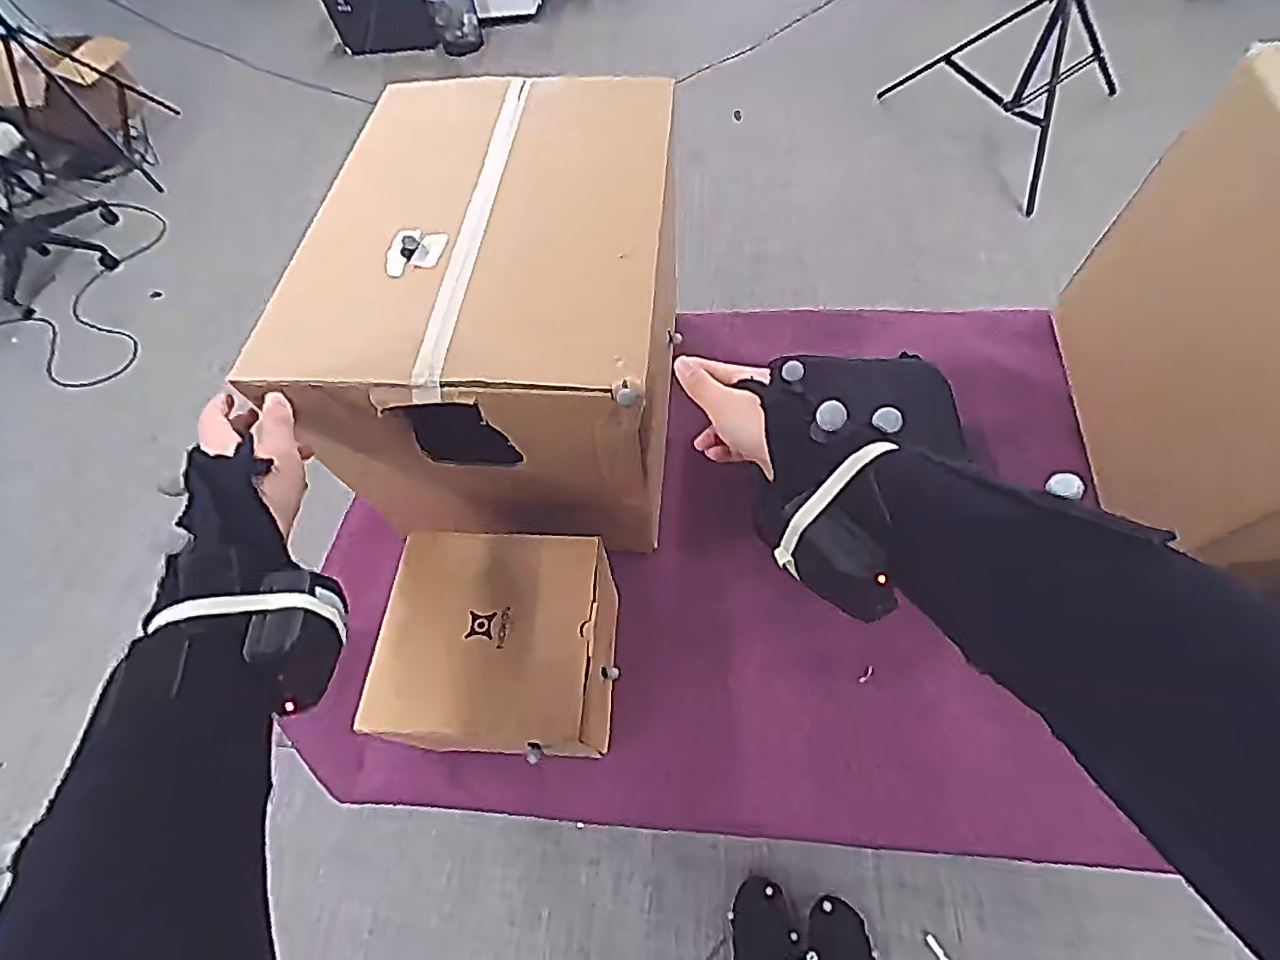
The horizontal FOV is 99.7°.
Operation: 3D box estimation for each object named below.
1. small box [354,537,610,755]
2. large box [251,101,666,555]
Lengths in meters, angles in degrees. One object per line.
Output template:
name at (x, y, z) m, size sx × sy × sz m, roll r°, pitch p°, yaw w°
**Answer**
small box at (-0.128, 0.165, 0.518) m, size 0.179 × 0.176 × 0.168 m, roll 1°, pitch 60°, yaw 3°
large box at (-0.130, -0.157, 0.622) m, size 0.320 × 0.320 × 0.408 m, roll 2°, pitch 63°, yaw 6°
